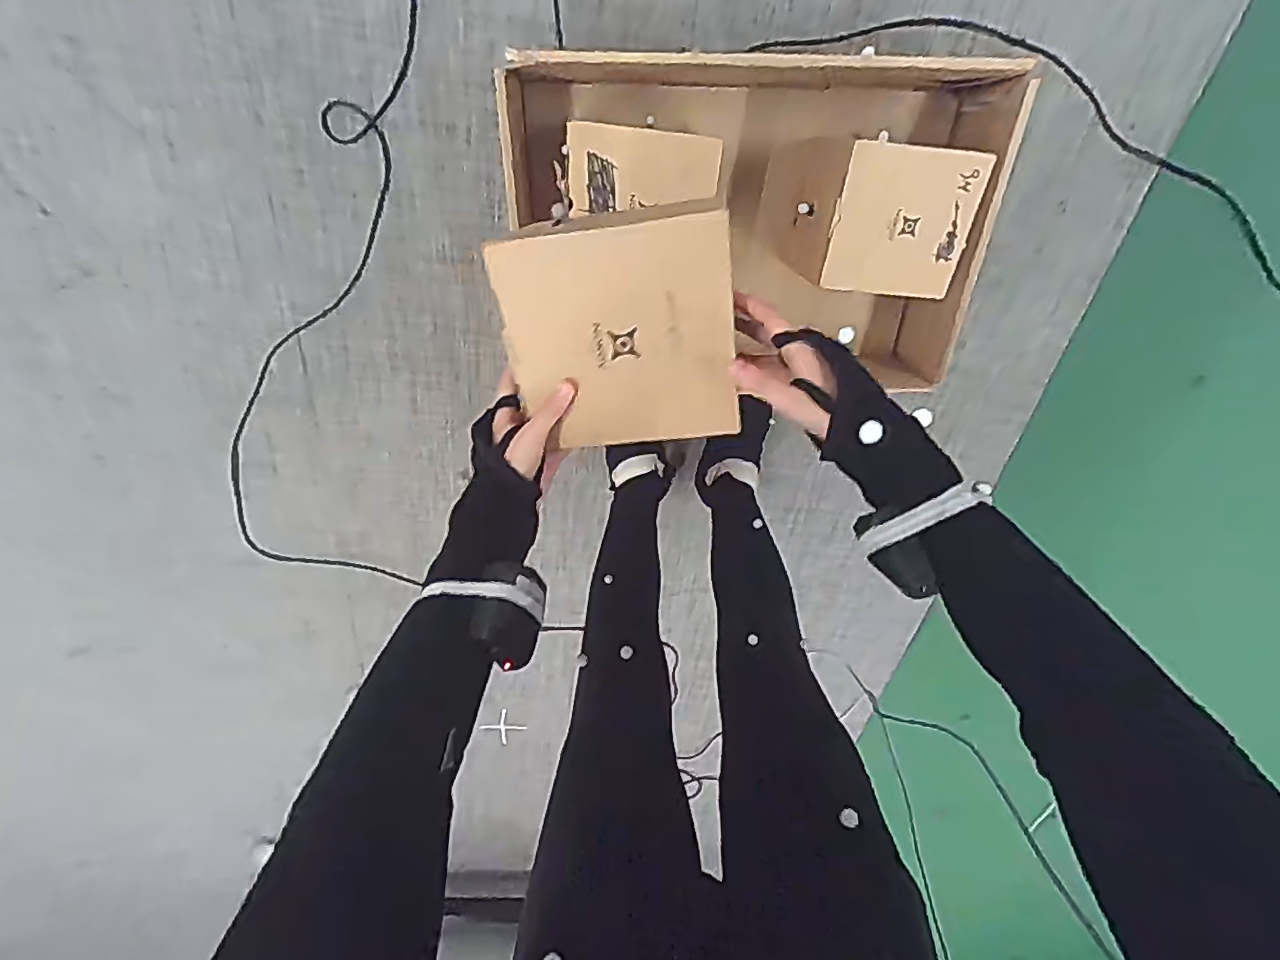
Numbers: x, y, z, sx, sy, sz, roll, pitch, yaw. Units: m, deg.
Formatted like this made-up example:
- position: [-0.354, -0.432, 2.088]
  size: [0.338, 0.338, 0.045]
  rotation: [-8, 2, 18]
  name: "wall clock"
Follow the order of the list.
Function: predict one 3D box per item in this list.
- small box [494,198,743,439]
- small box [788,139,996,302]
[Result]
- position: [-0.005, -0.149, 0.480]
  size: [0.179, 0.176, 0.168]
  rotation: [-4, 119, 6]
  name: "small box"
- position: [0.317, -0.350, 0.729]
  size: [0.179, 0.176, 0.168]
  rotation: [4, 121, -5]
  name: "small box"
